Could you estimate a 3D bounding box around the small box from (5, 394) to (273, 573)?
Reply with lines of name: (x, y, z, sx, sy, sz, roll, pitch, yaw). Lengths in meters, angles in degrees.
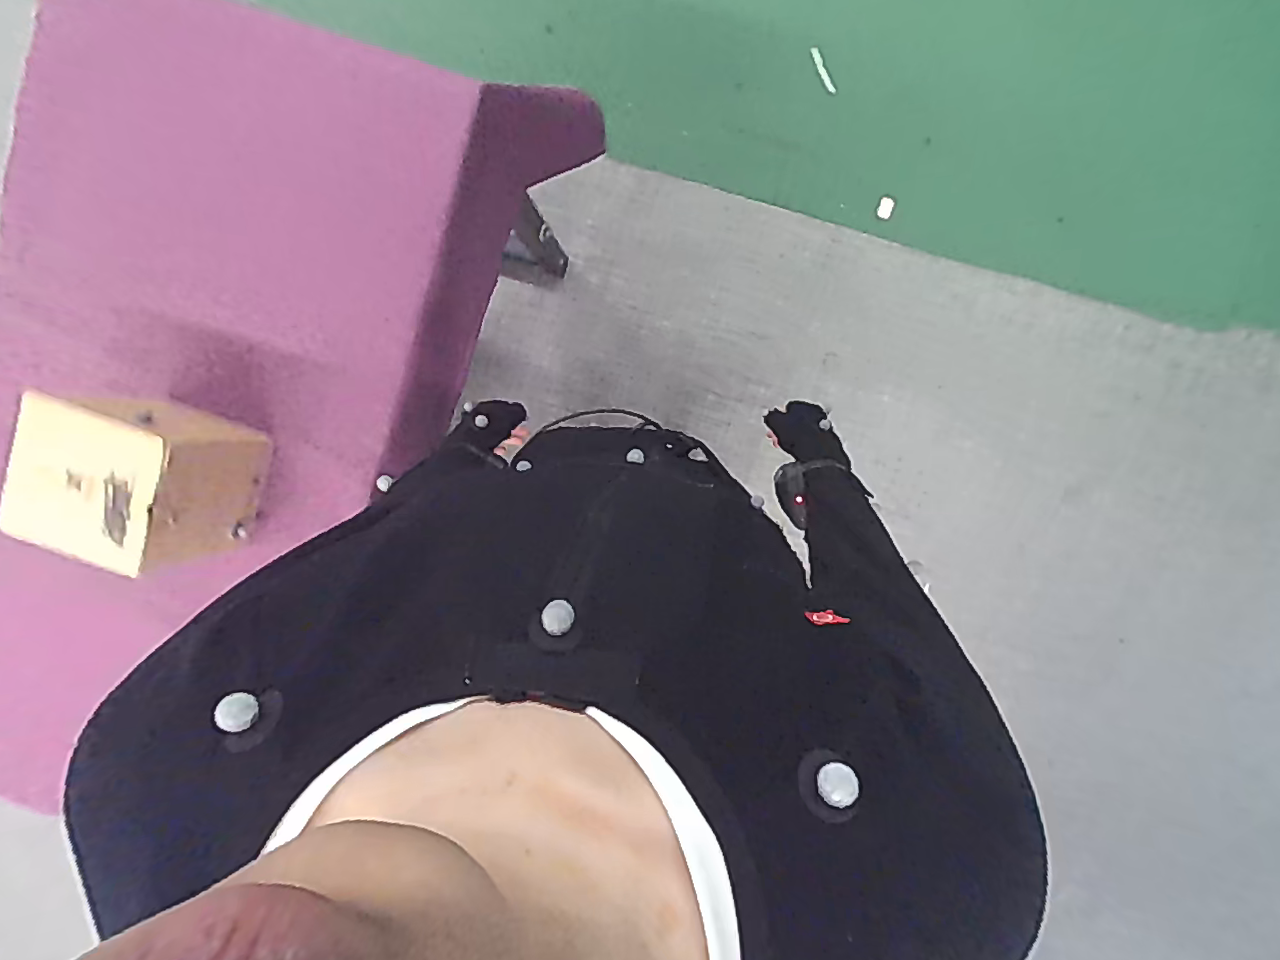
small box: (-0.621, -0.003, 0.692, 0.179, 0.176, 0.168, 19, 96, 2)
